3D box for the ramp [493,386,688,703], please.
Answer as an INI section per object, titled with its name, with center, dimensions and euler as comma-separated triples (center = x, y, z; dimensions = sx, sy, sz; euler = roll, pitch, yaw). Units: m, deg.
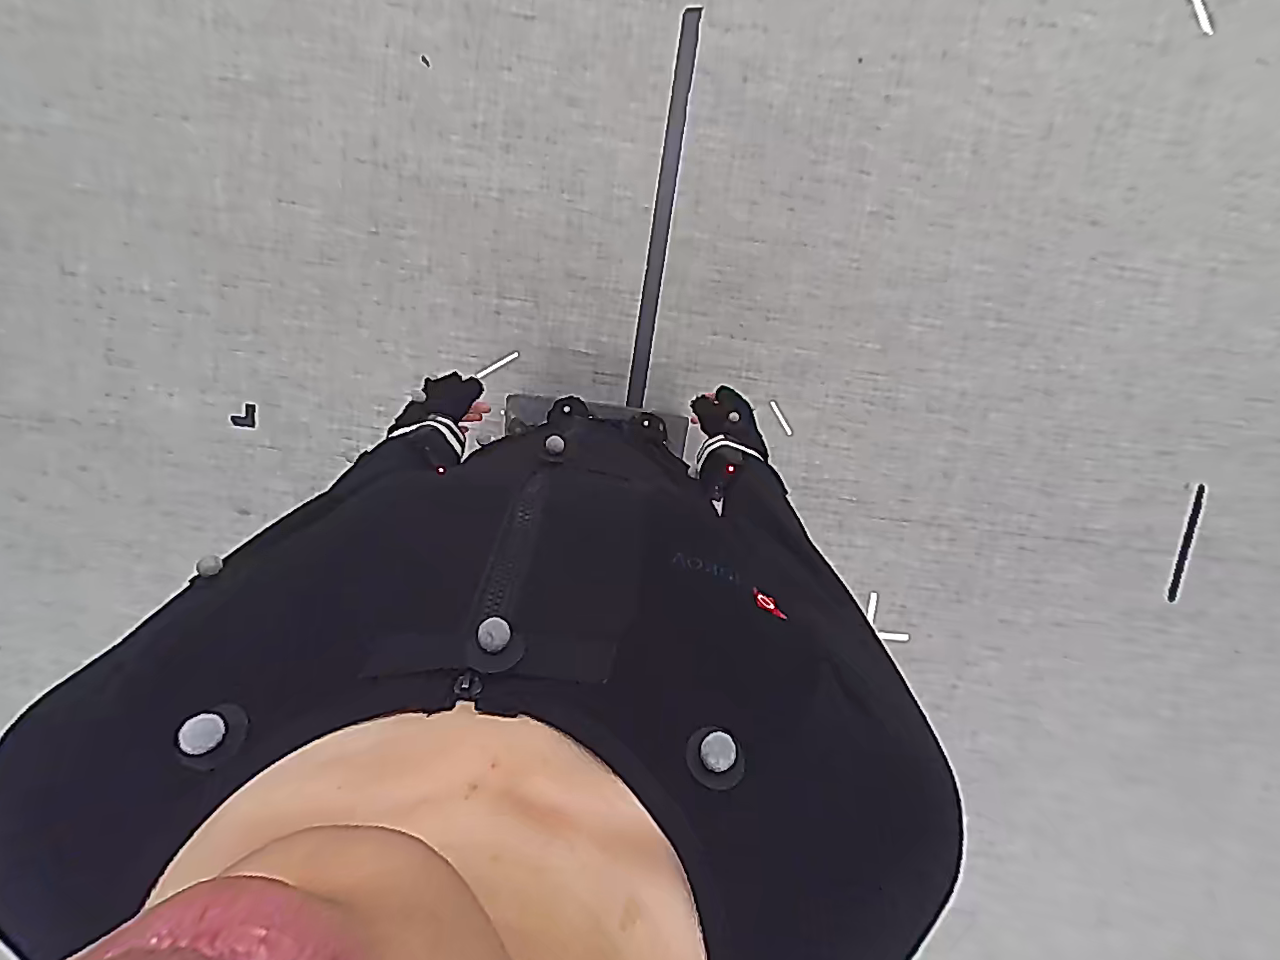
[ramp]
center = -0.171, 0.243, 1.600
dimensions = 0.509, 0.206, 0.991
euler = 5, 100, -4
